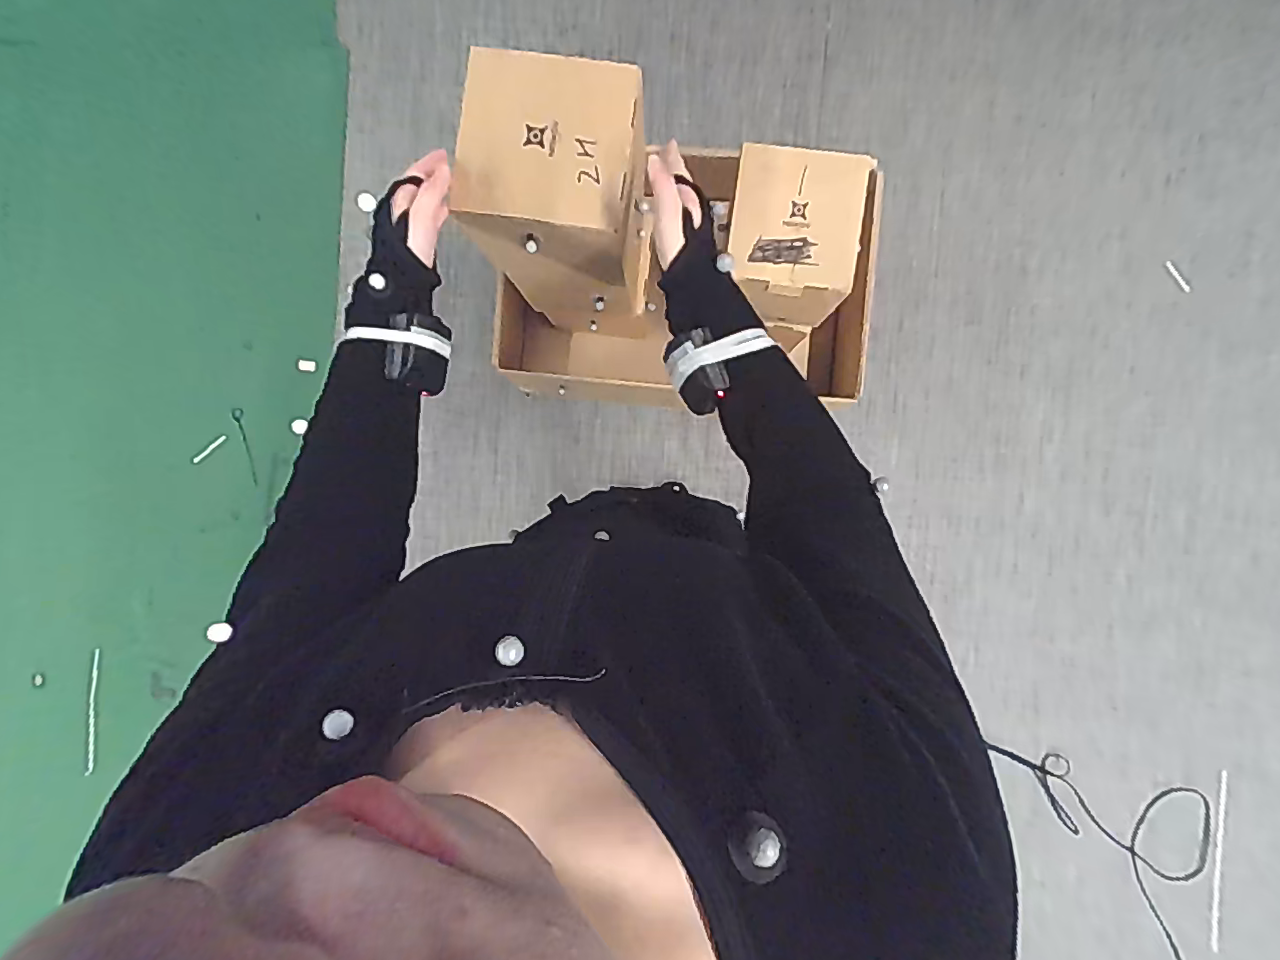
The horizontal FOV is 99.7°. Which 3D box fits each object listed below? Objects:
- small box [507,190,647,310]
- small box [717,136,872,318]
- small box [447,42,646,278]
[{"bbox_3d":[-0.081,-0.359,0.784,0.168,0.176,0.179,6,91,3],"label":"small box"},{"bbox_3d":[0.205,-0.343,0.766,0.168,0.176,0.179,9,91,3],"label":"small box"},{"bbox_3d":[-0.093,-0.348,0.620,0.179,0.176,0.168,10,92,2],"label":"small box"}]
